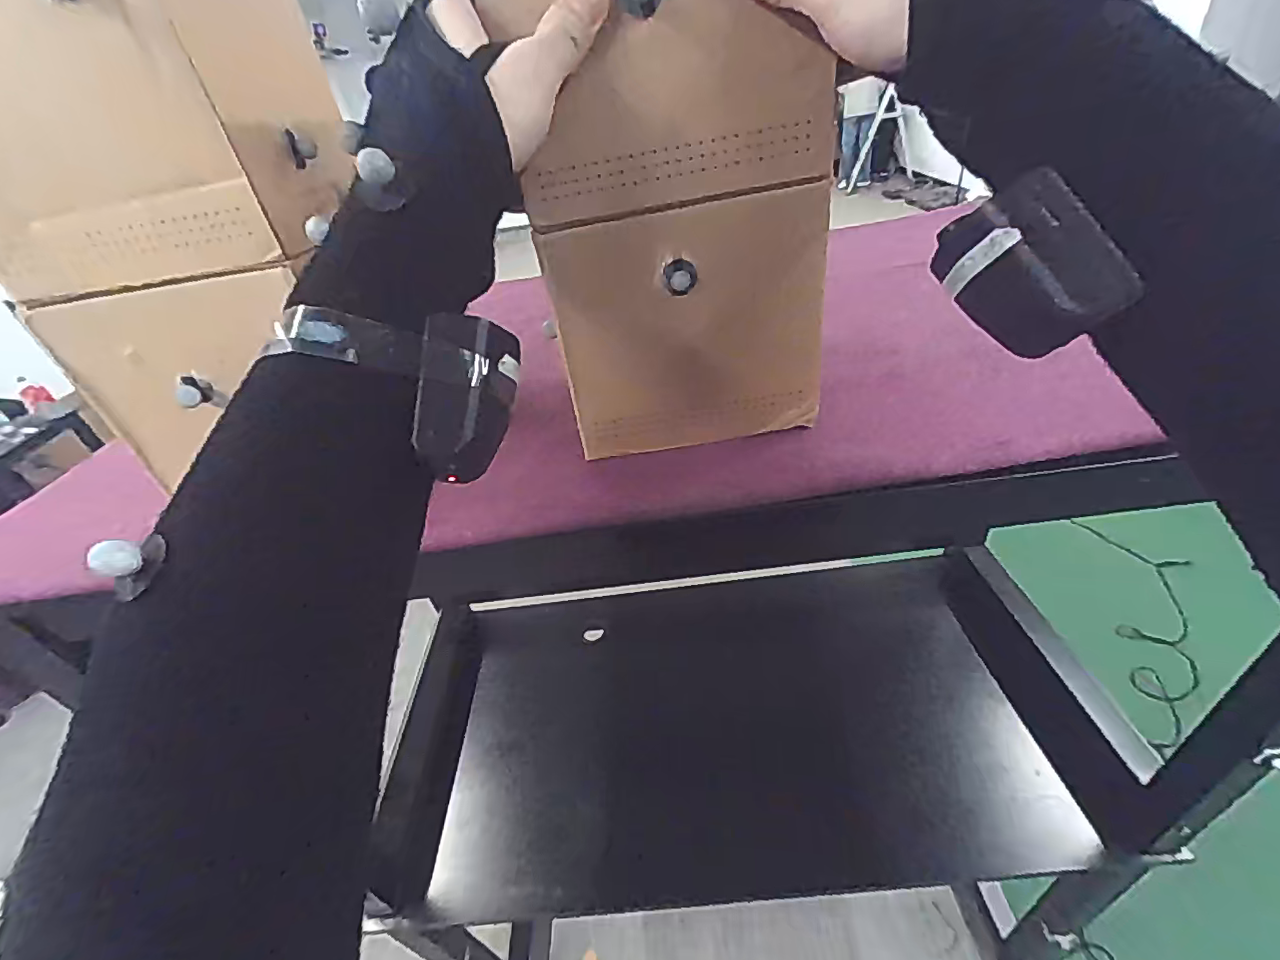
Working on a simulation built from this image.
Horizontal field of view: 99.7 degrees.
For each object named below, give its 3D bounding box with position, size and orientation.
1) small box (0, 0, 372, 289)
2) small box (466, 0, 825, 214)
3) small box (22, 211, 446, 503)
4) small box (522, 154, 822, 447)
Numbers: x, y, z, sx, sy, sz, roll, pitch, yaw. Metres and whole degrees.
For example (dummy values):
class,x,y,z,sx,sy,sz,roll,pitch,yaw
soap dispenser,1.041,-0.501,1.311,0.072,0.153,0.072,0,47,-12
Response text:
class,x,y,z,sx,sy,sz,roll,pitch,yaw
small box,-0.311,-0.231,0.343,0.179,0.176,0.168,-8,35,1
small box,0.003,-0.271,0.319,0.179,0.176,0.168,-10,36,4
small box,-0.285,-0.098,0.435,0.179,0.176,0.168,-9,35,3
small box,0.028,-0.140,0.412,0.179,0.176,0.168,-8,36,3
